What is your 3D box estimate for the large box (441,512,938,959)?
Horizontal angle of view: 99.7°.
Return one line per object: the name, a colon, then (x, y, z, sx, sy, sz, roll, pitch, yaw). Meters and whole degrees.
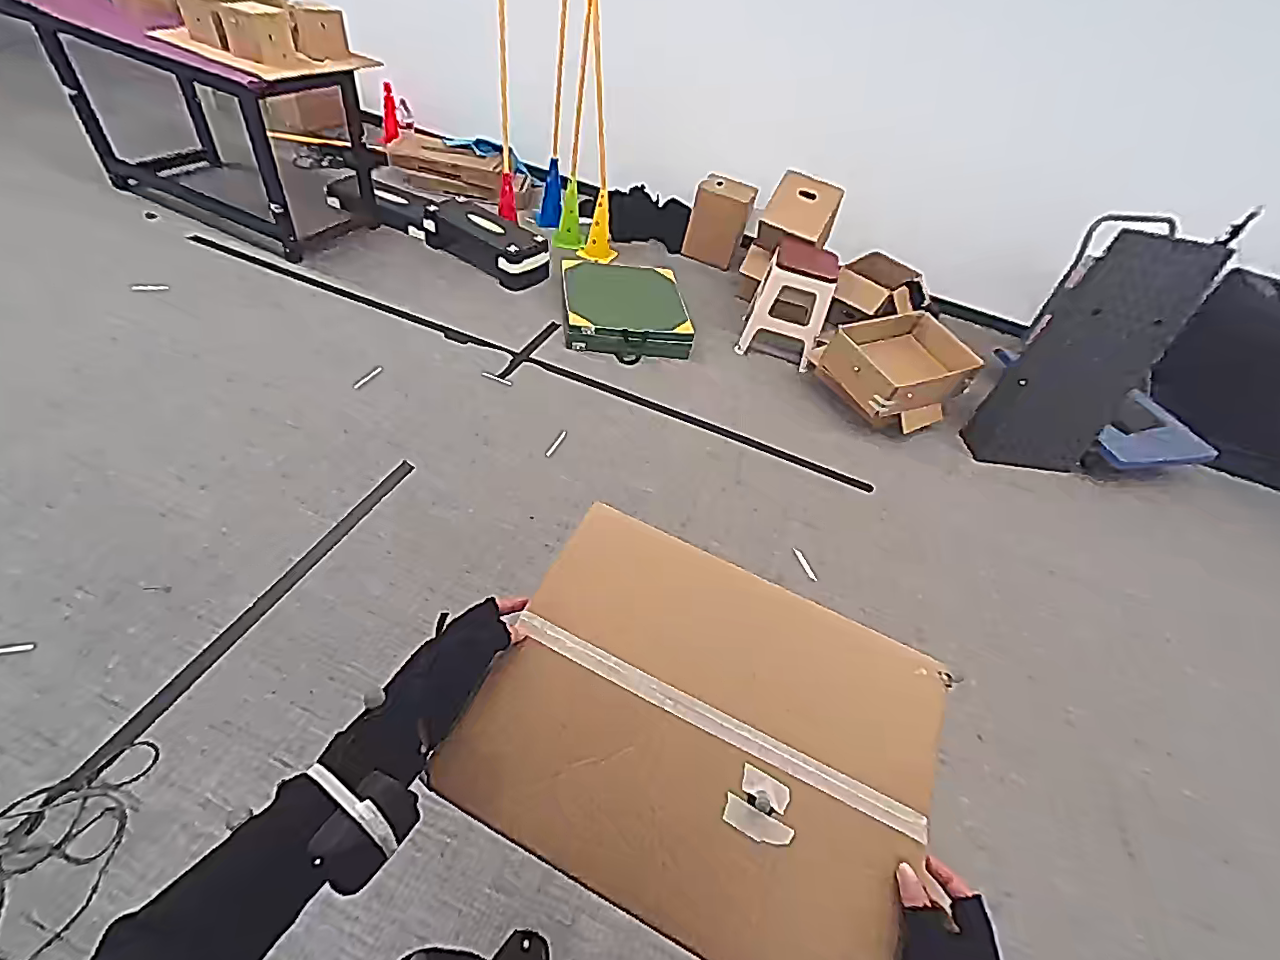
large box: (0.052, 0.305, 0.635, 0.408, 0.320, 0.320, 25, 59, 10)
